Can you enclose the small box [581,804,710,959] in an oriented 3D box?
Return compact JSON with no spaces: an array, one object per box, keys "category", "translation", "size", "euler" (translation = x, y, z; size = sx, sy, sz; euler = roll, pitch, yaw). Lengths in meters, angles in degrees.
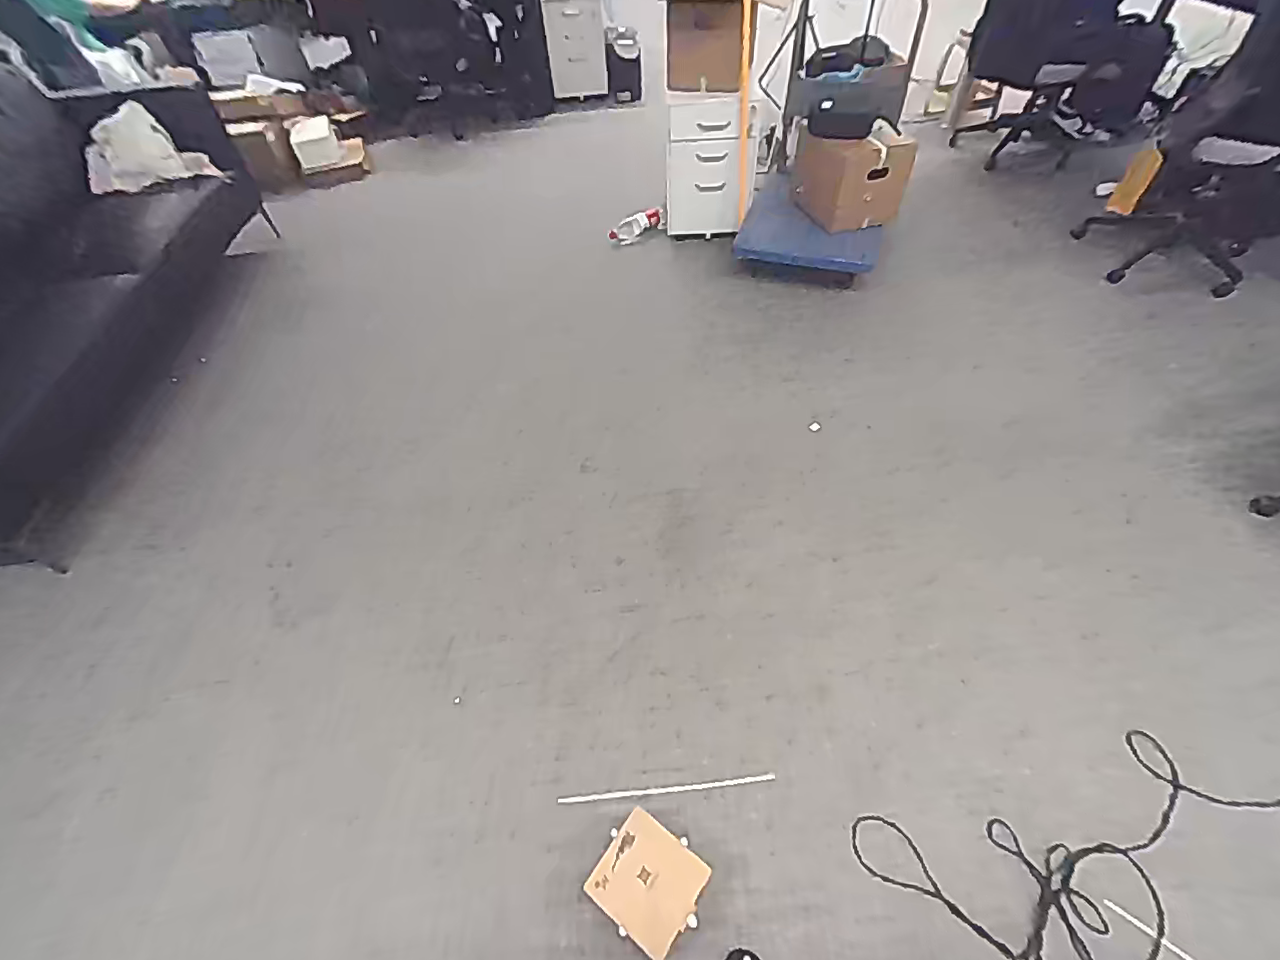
[{"category":"small box","translation":[0.016,0.755,1.026],"size":[0.179,0.176,0.168],"euler":[29,59,24]}]
